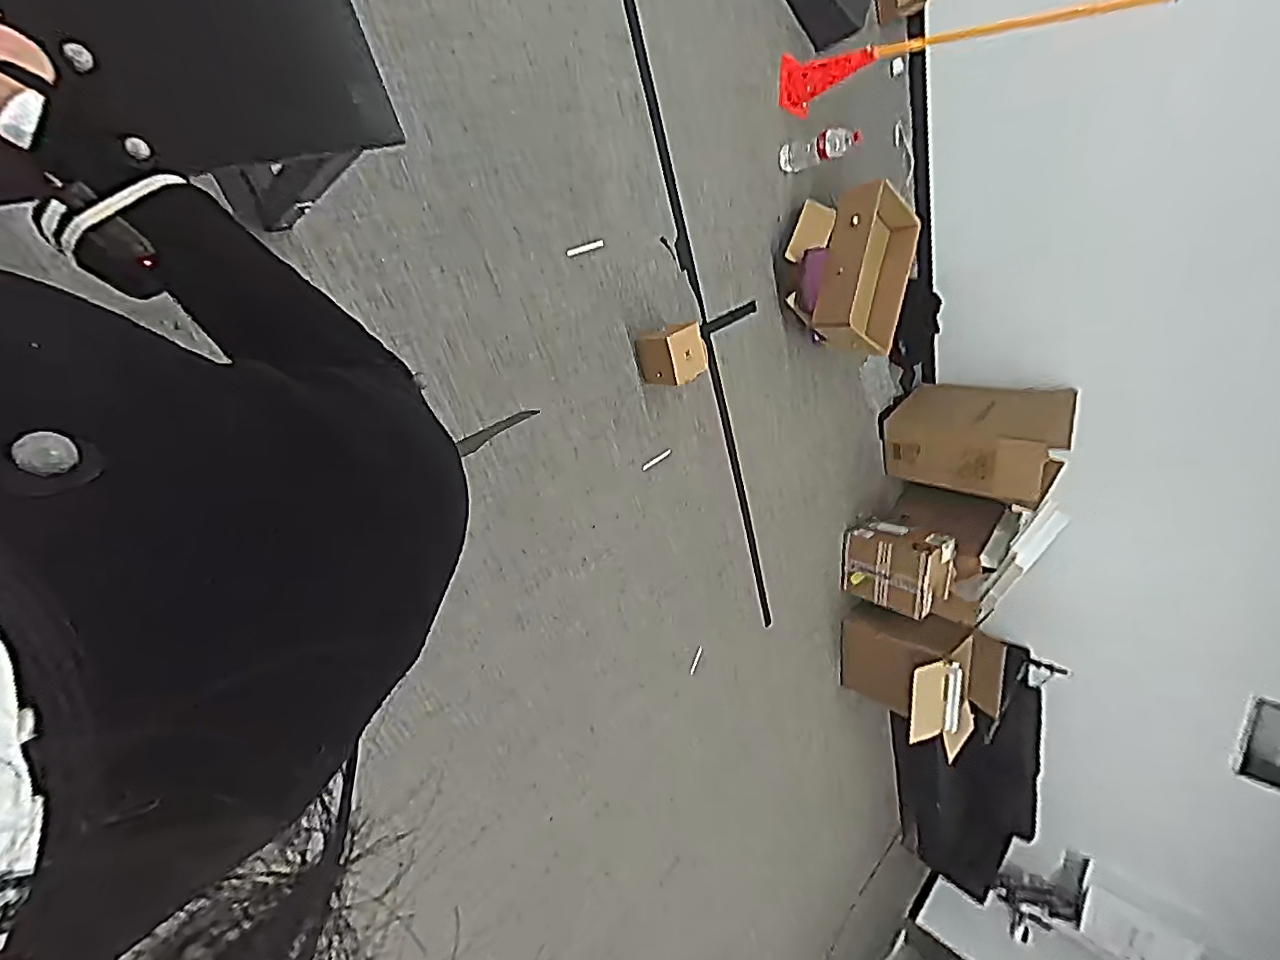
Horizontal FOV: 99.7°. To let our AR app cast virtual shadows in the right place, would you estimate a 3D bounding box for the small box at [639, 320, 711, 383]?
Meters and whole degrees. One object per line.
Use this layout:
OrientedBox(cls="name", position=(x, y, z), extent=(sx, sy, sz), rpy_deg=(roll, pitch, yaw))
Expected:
OrientedBox(cls="small box", position=(0.124, -0.462, 1.937), extent=(0.168, 0.176, 0.179), rpy_deg=(-35, 120, -31))
